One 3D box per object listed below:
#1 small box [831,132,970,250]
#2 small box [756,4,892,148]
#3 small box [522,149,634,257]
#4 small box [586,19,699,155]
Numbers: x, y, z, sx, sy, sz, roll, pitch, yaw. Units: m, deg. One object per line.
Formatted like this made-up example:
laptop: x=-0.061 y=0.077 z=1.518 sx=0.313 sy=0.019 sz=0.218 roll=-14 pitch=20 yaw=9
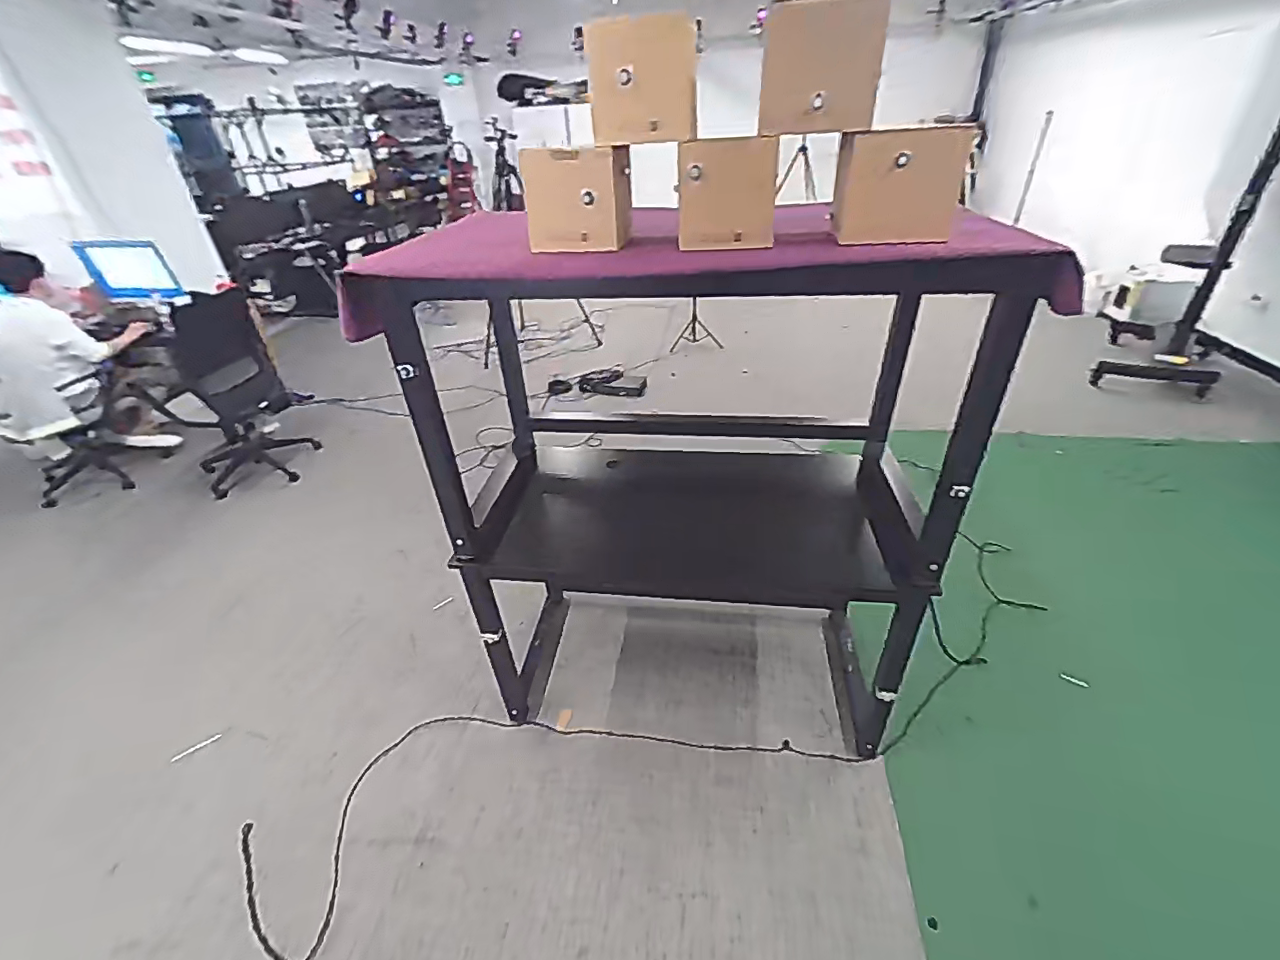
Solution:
small box: x=0.440 y=-0.506 z=0.950 sx=0.179 sy=0.176 sz=0.168 roll=2 pitch=33 yaw=8
small box: x=0.287 y=-0.649 z=0.883 sx=0.179 sy=0.176 sz=0.168 roll=4 pitch=33 yaw=9
small box: x=-0.106 y=-0.526 z=1.026 sx=0.168 sy=0.176 sz=0.179 roll=4 pitch=33 yaw=9
small box: x=0.014 y=-0.664 z=0.932 sx=0.168 sy=0.176 sz=0.179 roll=1 pitch=33 yaw=9
